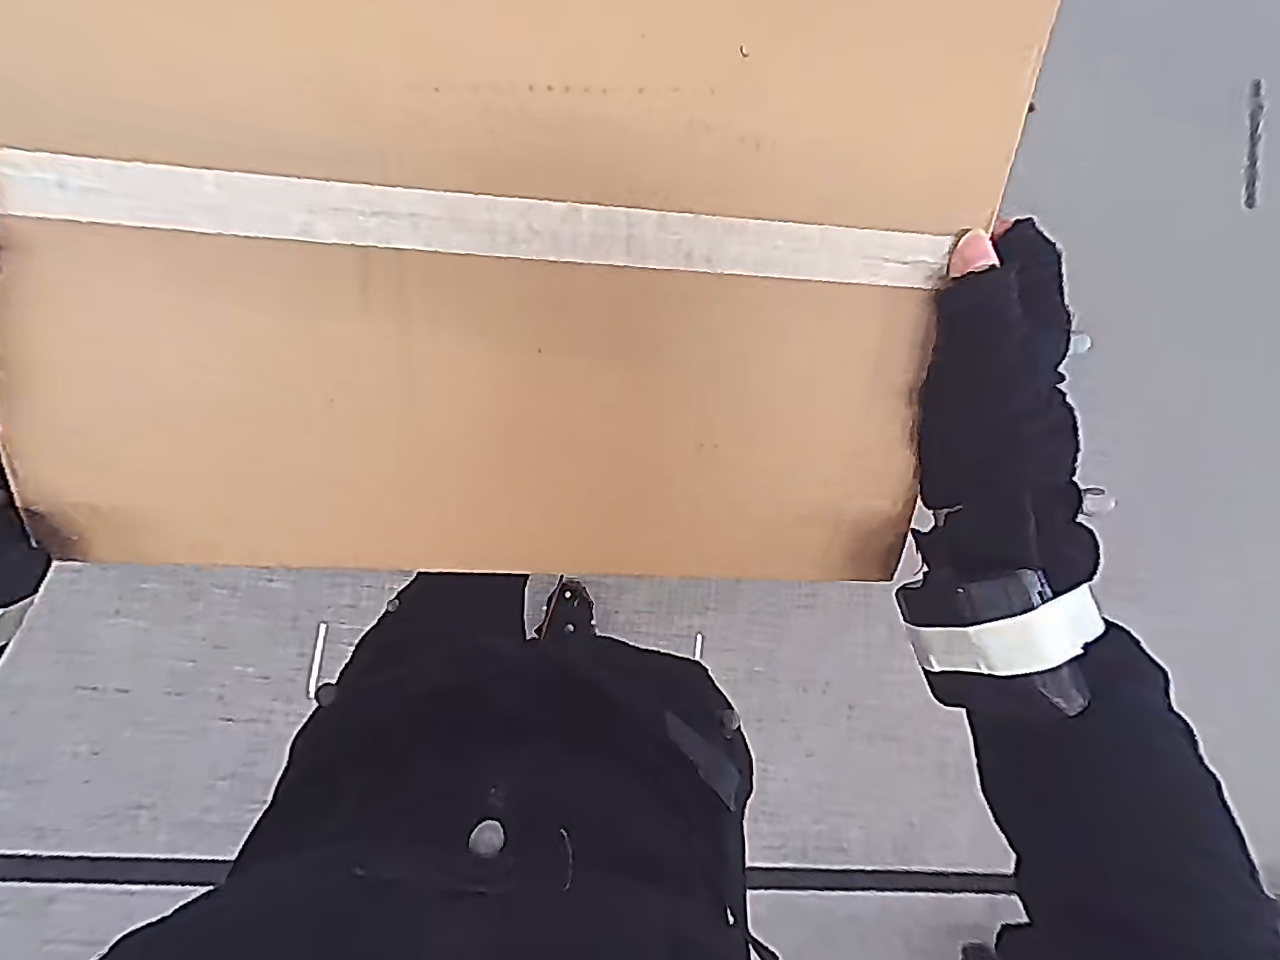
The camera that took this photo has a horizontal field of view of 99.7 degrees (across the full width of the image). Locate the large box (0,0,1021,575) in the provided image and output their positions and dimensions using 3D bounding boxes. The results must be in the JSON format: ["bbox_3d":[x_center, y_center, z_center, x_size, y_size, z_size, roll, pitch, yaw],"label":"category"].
[{"bbox_3d":[-0.072,-0.150,0.359,0.408,0.320,0.320,2,111,-6],"label":"large box"}]
